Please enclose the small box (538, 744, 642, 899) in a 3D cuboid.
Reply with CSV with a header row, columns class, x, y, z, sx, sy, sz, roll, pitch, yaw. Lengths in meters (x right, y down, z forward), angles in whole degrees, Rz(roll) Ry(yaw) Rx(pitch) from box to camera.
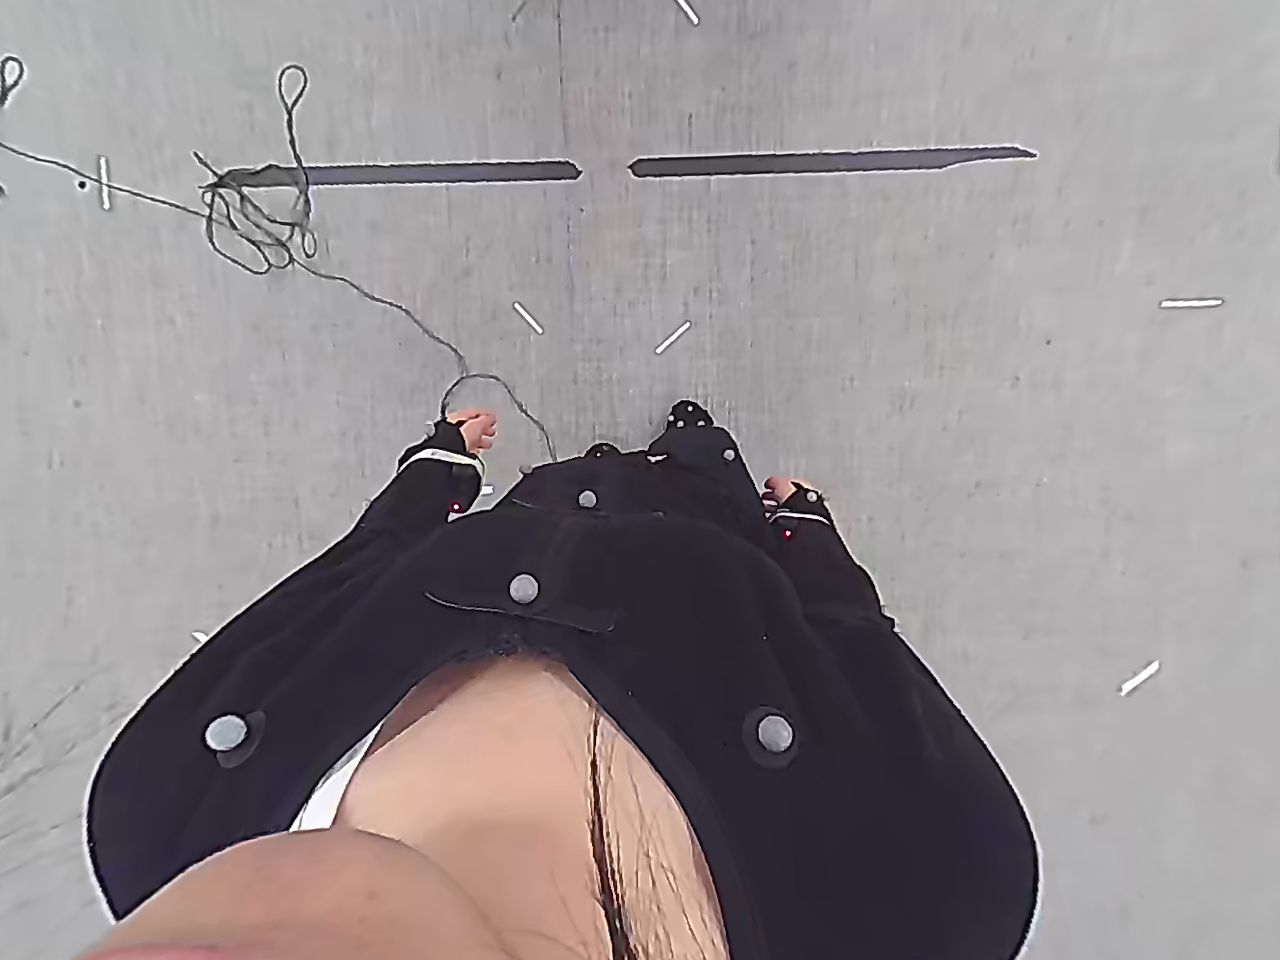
class,x,y,z,sx,sy,sz,roll,pitch,yaw
small box,-0.083,0.604,0.977,0.168,0.176,0.179,3,93,2
